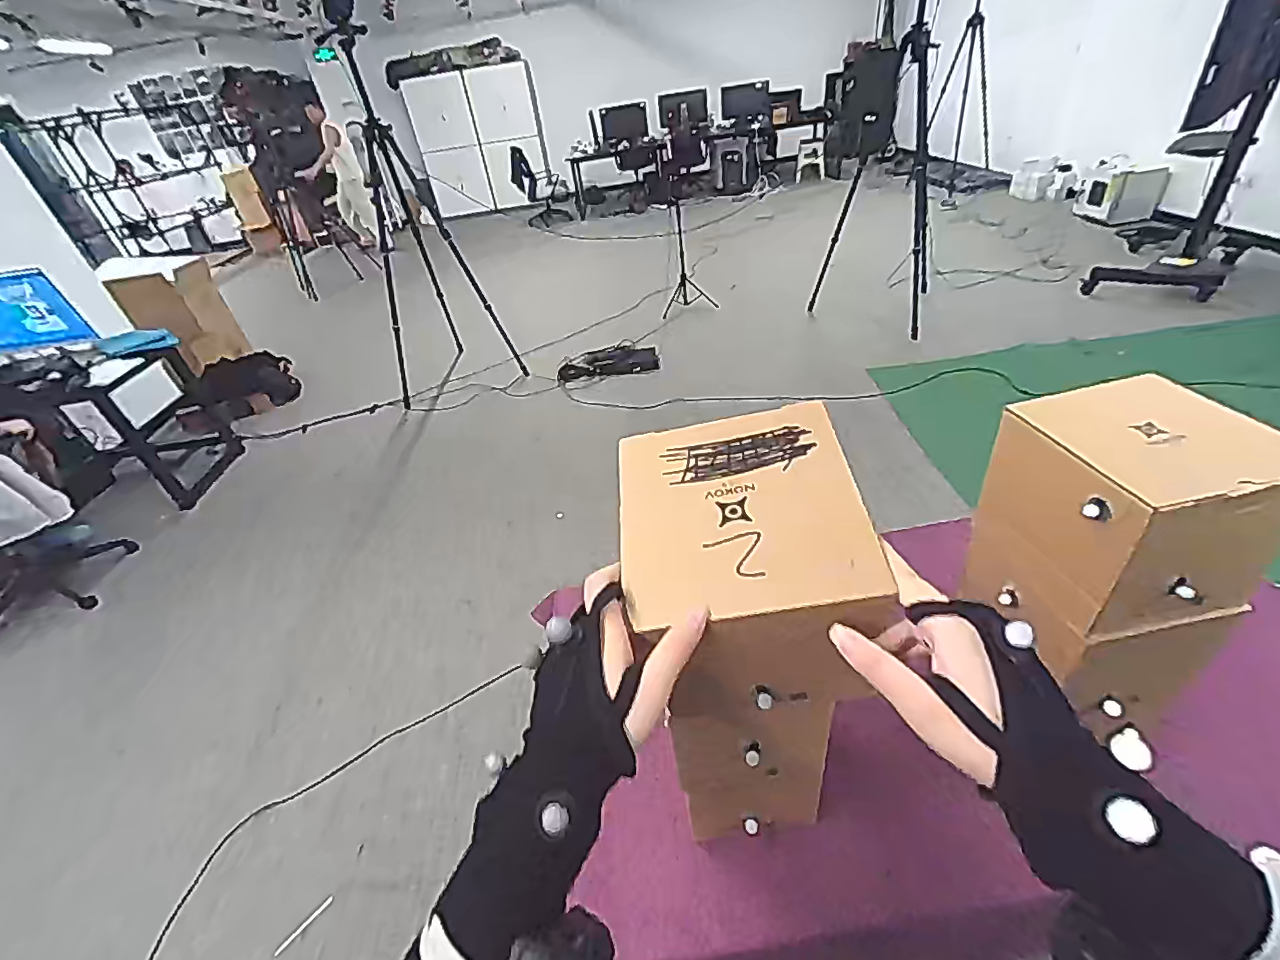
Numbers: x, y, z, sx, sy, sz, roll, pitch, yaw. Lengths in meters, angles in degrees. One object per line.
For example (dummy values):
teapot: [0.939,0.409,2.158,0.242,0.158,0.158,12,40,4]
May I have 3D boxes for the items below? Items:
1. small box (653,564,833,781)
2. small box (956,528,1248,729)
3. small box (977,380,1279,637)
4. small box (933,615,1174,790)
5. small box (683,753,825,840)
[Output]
small box: [0.112,0.227,0.630,0.168,0.176,0.179,-8,37,1]
small box: [0.507,0.156,0.633,0.168,0.176,0.179,-11,37,0]
small box: [0.480,0.025,0.541,0.168,0.176,0.179,-12,38,-2]
small box: [0.531,0.287,0.728,0.179,0.176,0.168,-10,36,0]
small box: [0.137,0.352,0.734,0.168,0.176,0.179,-9,37,1]
